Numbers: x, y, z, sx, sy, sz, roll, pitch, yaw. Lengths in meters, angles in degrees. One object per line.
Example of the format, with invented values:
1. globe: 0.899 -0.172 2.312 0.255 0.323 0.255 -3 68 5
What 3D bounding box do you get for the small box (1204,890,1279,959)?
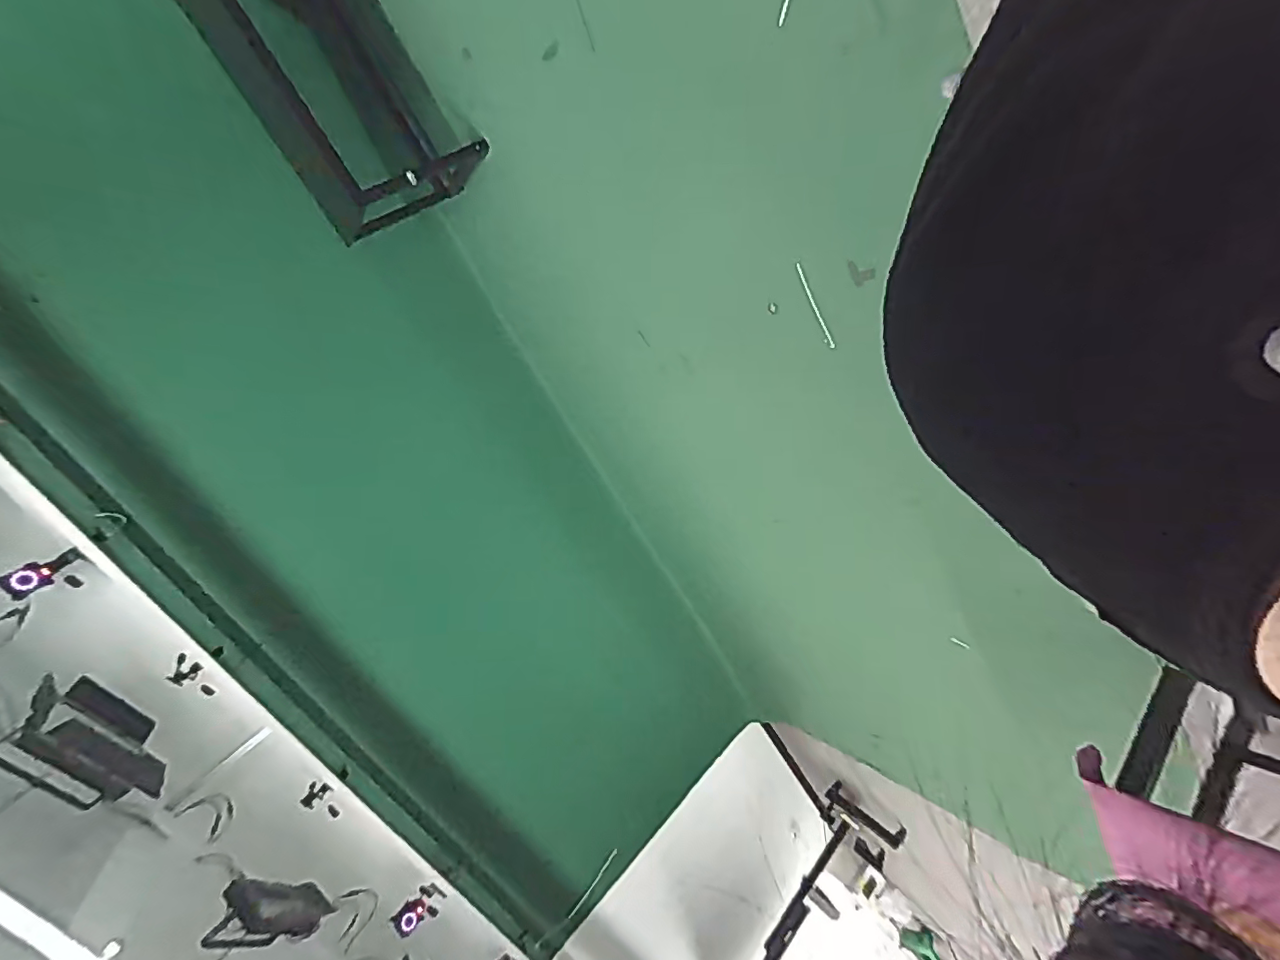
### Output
1. small box: 1.213 0.942 1.029 0.168 0.176 0.179 8 133 57
